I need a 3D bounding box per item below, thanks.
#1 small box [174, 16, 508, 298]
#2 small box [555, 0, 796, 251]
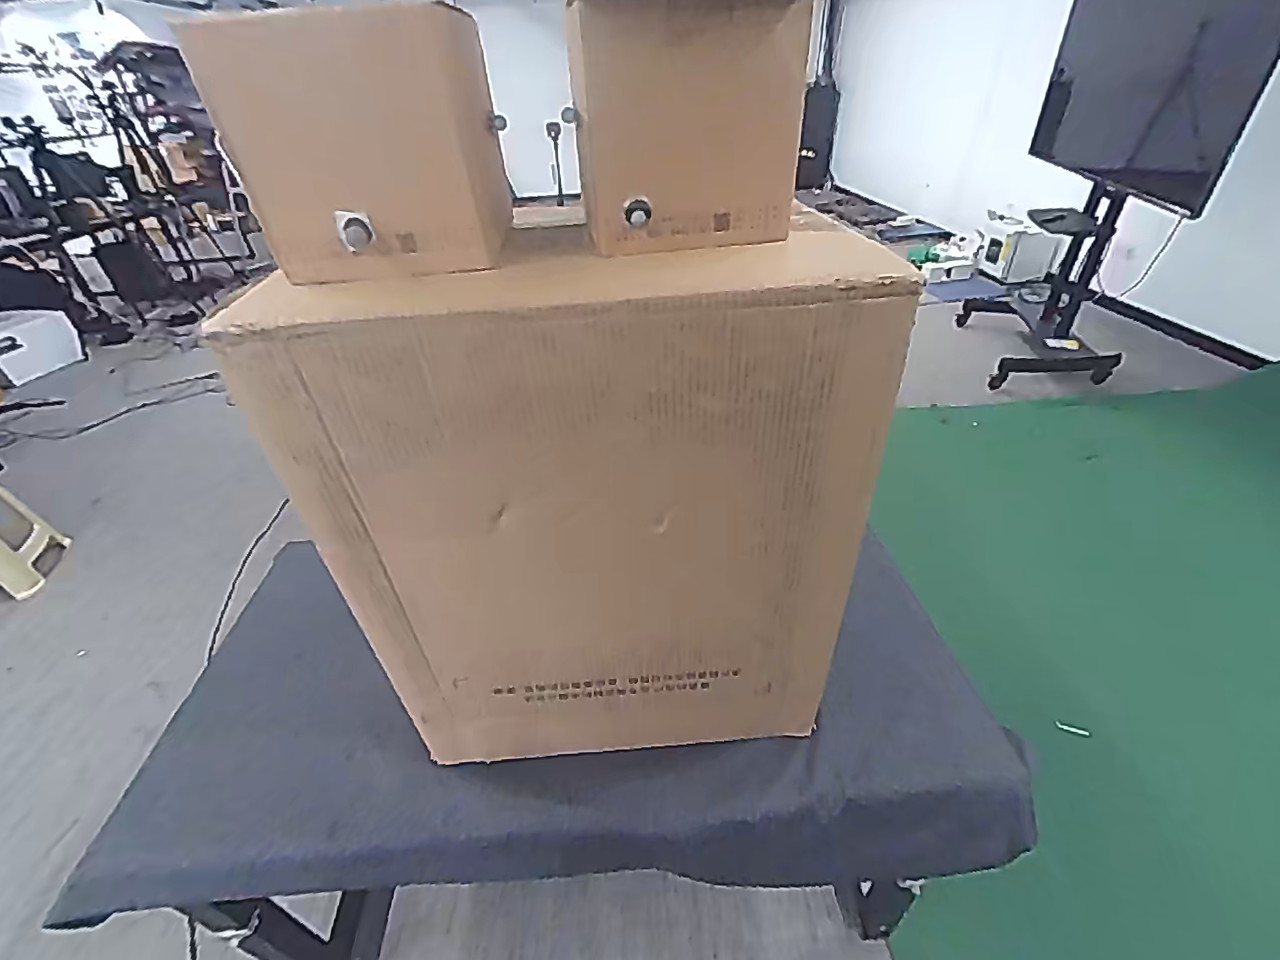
[{"bbox_3d":[-0.215,-0.270,0.456,0.168,0.176,0.179,-8,40,-1],"label":"small box"},{"bbox_3d":[0.023,-0.309,0.475,0.168,0.176,0.179,-9,38,-6],"label":"small box"}]
